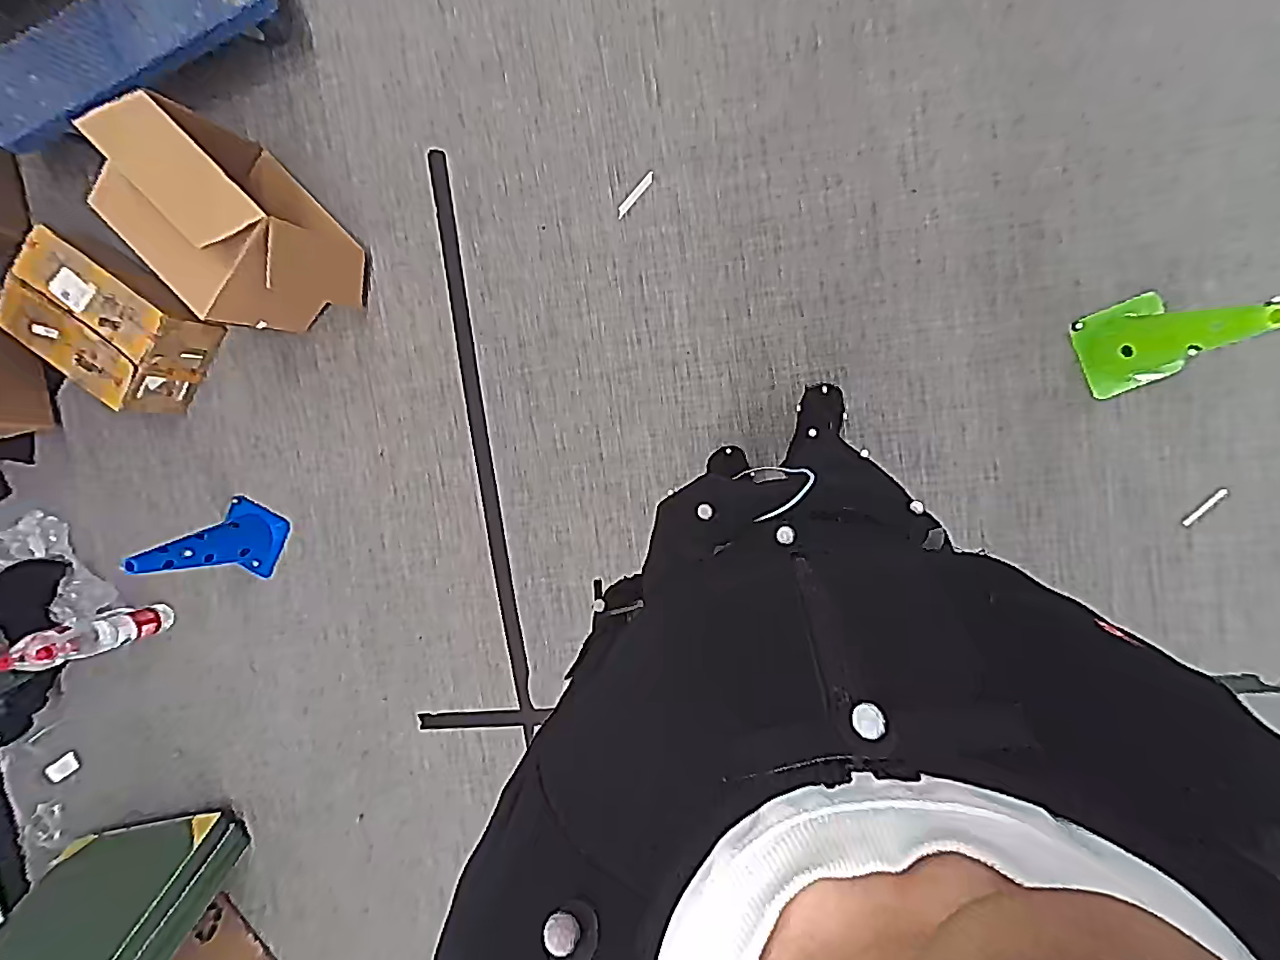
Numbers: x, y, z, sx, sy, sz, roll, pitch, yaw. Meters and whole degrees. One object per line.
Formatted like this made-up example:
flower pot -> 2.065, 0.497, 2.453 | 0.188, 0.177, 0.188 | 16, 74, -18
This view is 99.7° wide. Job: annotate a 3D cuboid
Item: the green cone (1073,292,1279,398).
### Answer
green cone -> 1.126, -0.299, 1.099 | 0.202, 0.368, 0.200 | -23, 93, 8
